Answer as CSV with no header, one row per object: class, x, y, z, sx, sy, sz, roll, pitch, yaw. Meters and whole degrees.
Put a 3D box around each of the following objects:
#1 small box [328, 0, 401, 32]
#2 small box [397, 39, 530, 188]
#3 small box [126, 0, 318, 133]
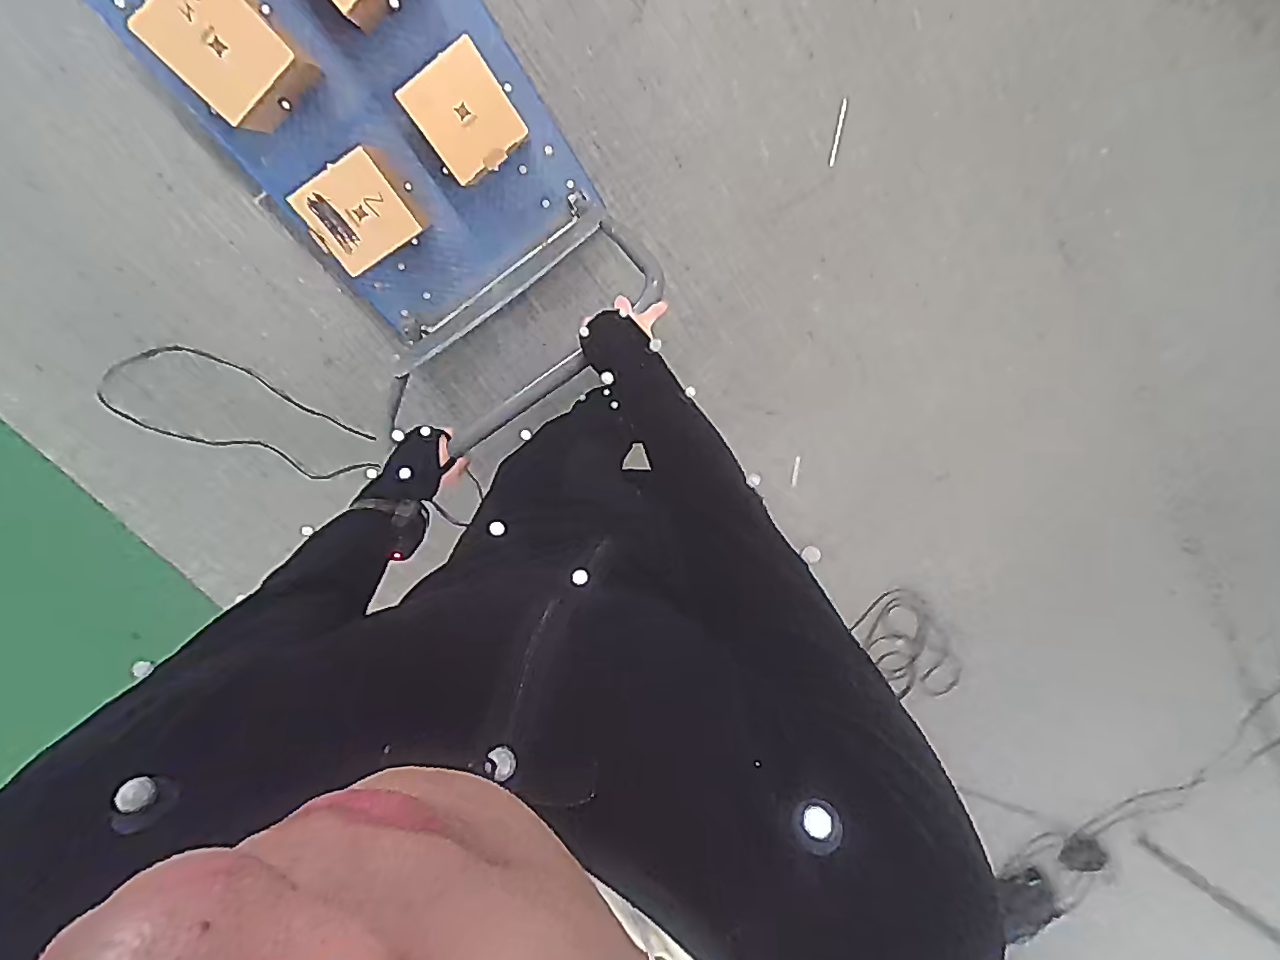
small box,-0.489,-0.896,0.894,0.168,0.176,0.179,-38,122,10
small box,-0.335,-0.697,1.049,0.168,0.176,0.179,-34,122,7
small box,-0.702,-0.737,0.935,0.168,0.176,0.179,-39,121,9
